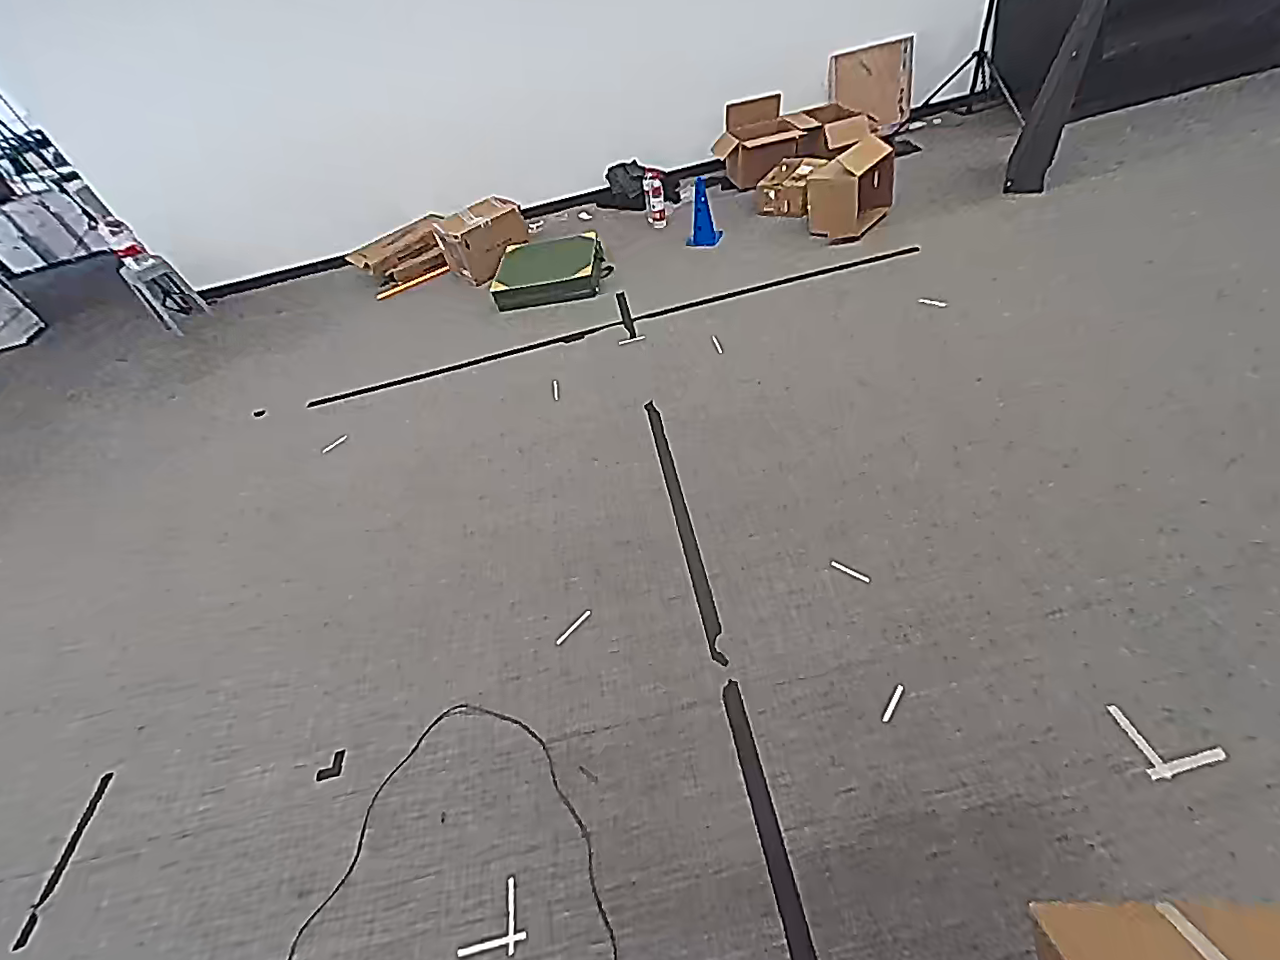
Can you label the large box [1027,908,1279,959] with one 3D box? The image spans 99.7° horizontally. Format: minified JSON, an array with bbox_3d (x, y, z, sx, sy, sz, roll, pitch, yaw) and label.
[{"bbox_3d":[0.640,0.695,0.489,0.320,0.408,0.320,-10,87,12],"label":"large box"}]
